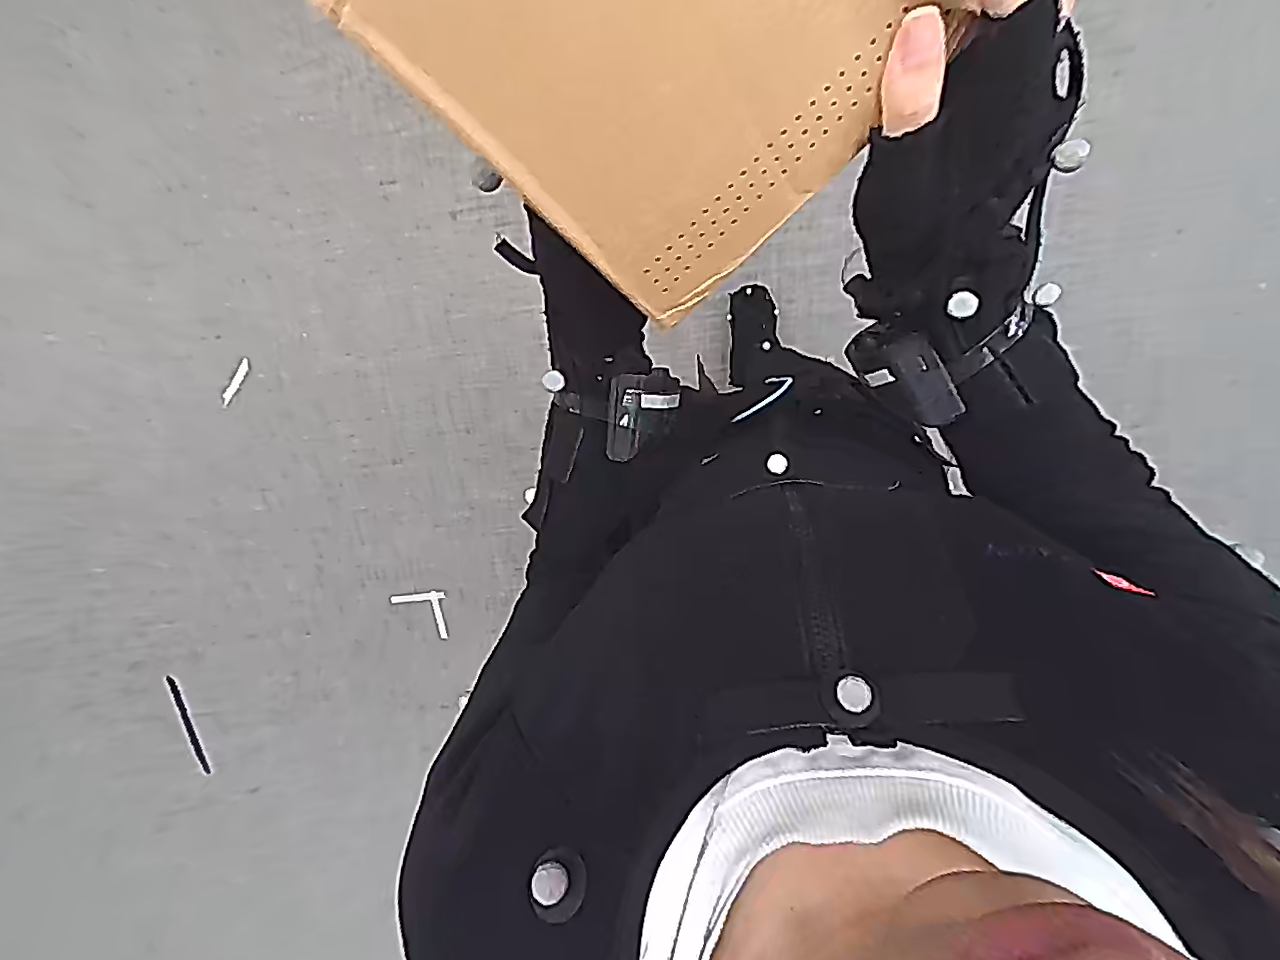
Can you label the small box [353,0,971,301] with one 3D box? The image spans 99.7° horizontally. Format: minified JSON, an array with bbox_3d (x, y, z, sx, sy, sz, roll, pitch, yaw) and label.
[{"bbox_3d":[0.004,-0.215,0.233,0.179,0.168,0.176,-41,138,17],"label":"small box"}]
